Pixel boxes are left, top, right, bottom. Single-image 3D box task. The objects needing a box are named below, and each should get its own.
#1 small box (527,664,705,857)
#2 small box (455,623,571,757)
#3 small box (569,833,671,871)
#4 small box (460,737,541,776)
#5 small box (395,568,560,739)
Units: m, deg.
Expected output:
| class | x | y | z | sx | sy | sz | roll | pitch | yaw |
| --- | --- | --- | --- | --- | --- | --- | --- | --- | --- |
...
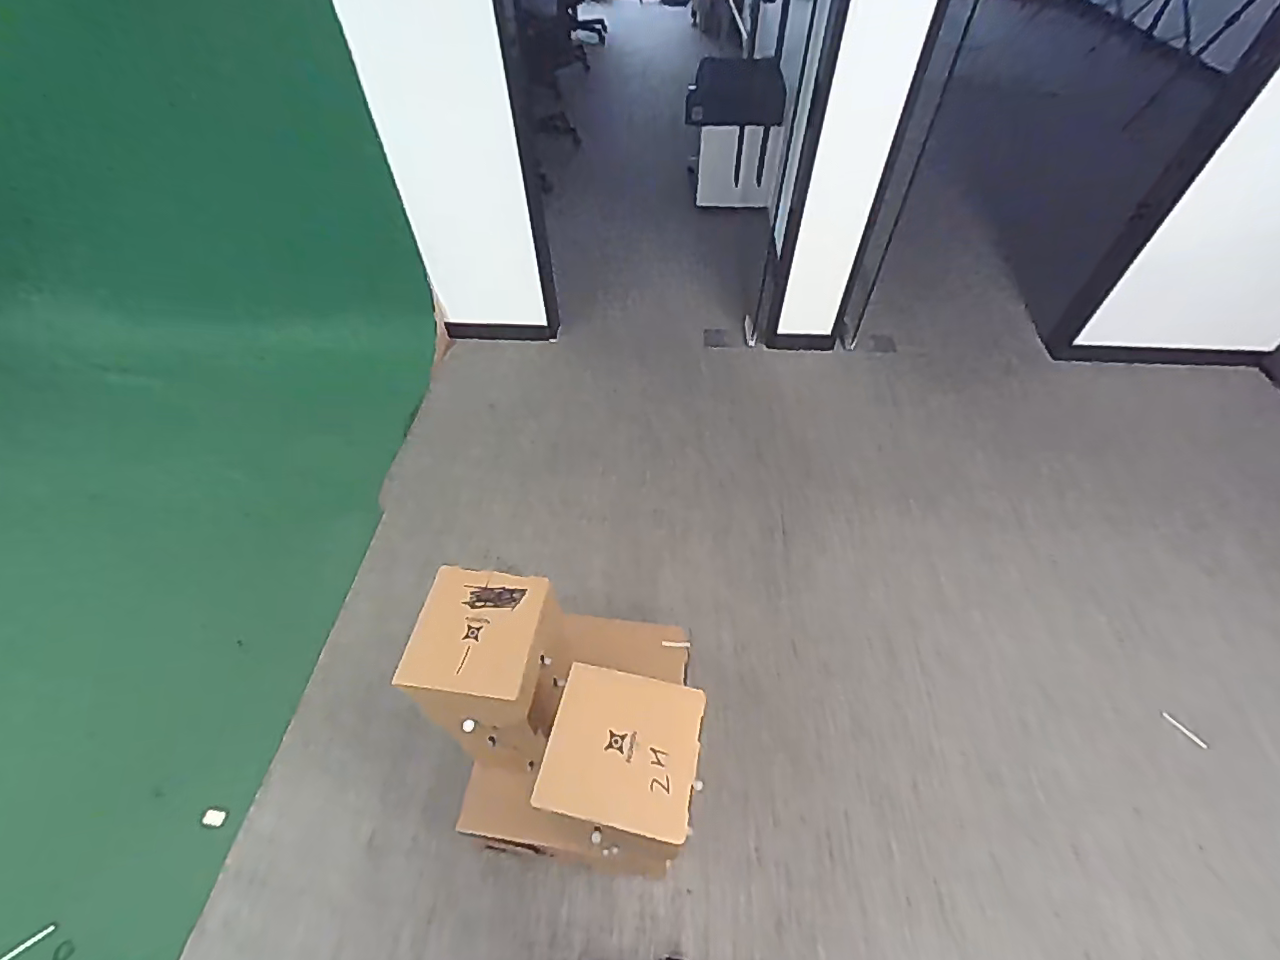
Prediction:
| class | x | y | z | sx | sy | sz | roll | pitch | yaw |
| --- | --- | --- | --- | --- | --- | --- | --- | --- | --- |
| small box | -0.021 | 0.360 | 0.689 | 0.179 | 0.176 | 0.168 | 10 | 51 | 9 |
| small box | -0.217 | 0.350 | 0.923 | 0.168 | 0.176 | 0.179 | 6 | 51 | 5 |
| small box | -0.019 | 0.561 | 0.953 | 0.168 | 0.176 | 0.179 | 7 | 49 | 7 |
| small box | -0.220 | 0.459 | 1.046 | 0.168 | 0.176 | 0.179 | 6 | 49 | 6 |
| small box | -0.220 | 0.255 | 0.791 | 0.168 | 0.176 | 0.179 | 6 | 51 | 6 |
